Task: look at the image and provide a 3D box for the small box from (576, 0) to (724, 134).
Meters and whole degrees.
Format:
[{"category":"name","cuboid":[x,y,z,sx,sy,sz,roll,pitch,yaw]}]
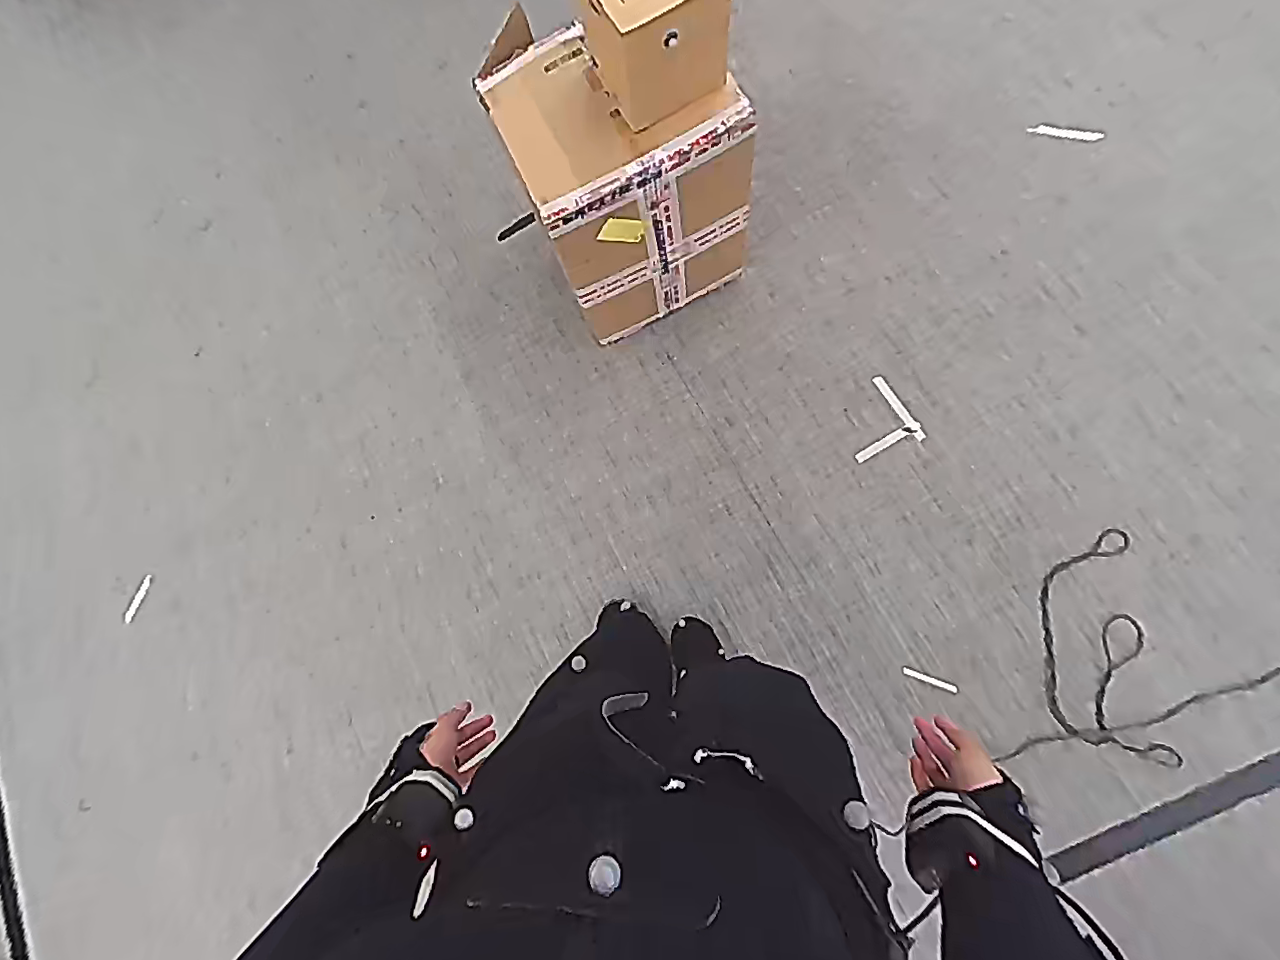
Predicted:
[{"category":"small box","cuboid":[0.018,-0.687,0.834,0.179,0.176,0.168,-29,79,0]}]
